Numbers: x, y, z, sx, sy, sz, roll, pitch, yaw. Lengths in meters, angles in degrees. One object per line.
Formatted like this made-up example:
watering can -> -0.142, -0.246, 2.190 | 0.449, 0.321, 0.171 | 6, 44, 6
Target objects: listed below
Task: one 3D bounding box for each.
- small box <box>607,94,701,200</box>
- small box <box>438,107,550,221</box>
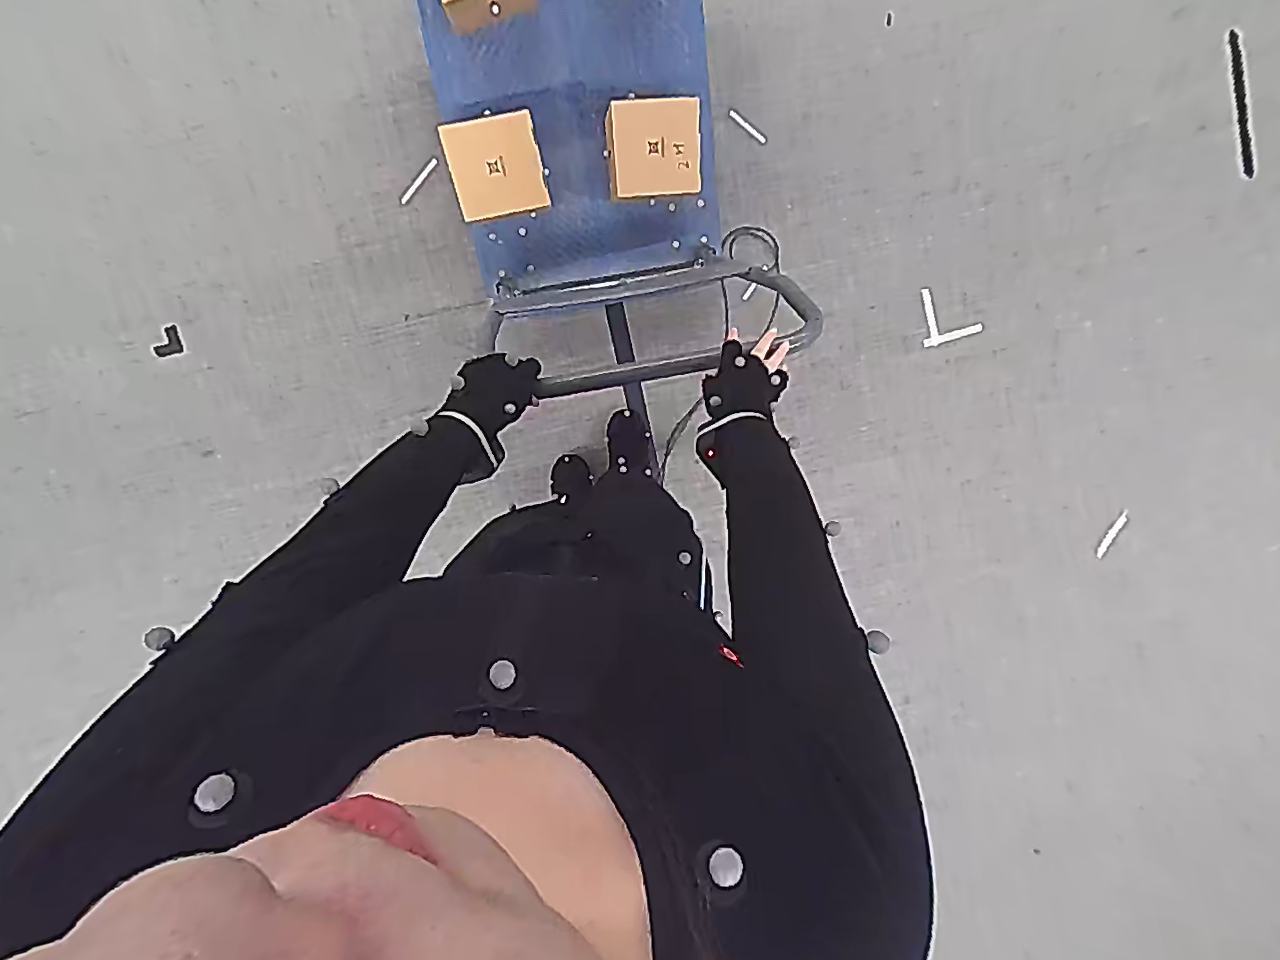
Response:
small box -> 0.025, -0.689, 1.133 | 0.179, 0.176, 0.168 | -6, 115, -6
small box -> -0.288, -0.637, 1.110 | 0.179, 0.176, 0.168 | -14, 115, -4
